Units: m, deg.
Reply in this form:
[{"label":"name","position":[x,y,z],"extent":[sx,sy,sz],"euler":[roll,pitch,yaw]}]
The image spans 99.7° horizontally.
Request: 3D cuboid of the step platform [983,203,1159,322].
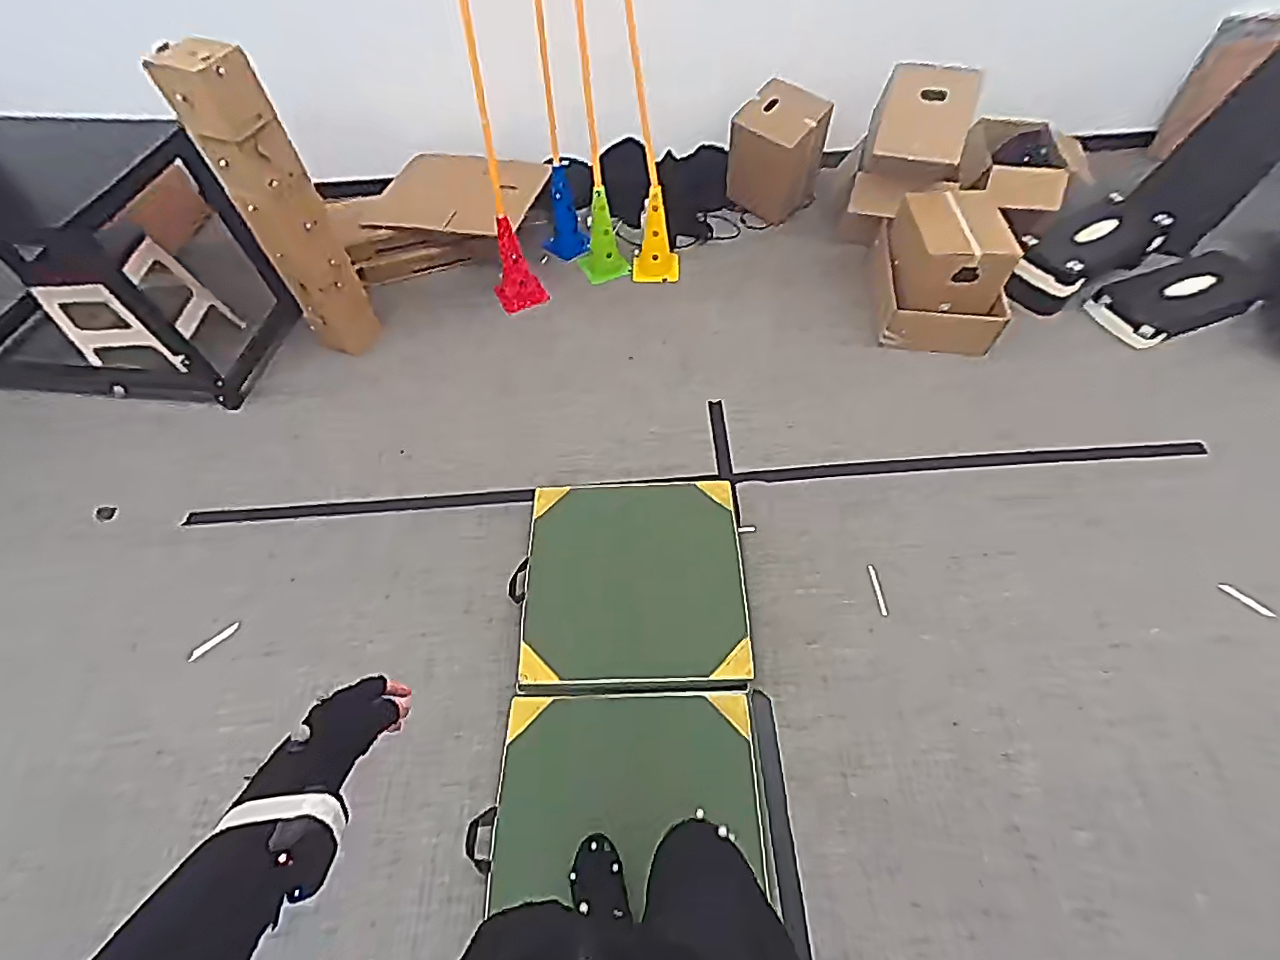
[{"label":"step platform","position":[1.794,-0.917,2.252],"extent":[0.684,0.204,0.286],"euler":[-28,60,-15]}]
